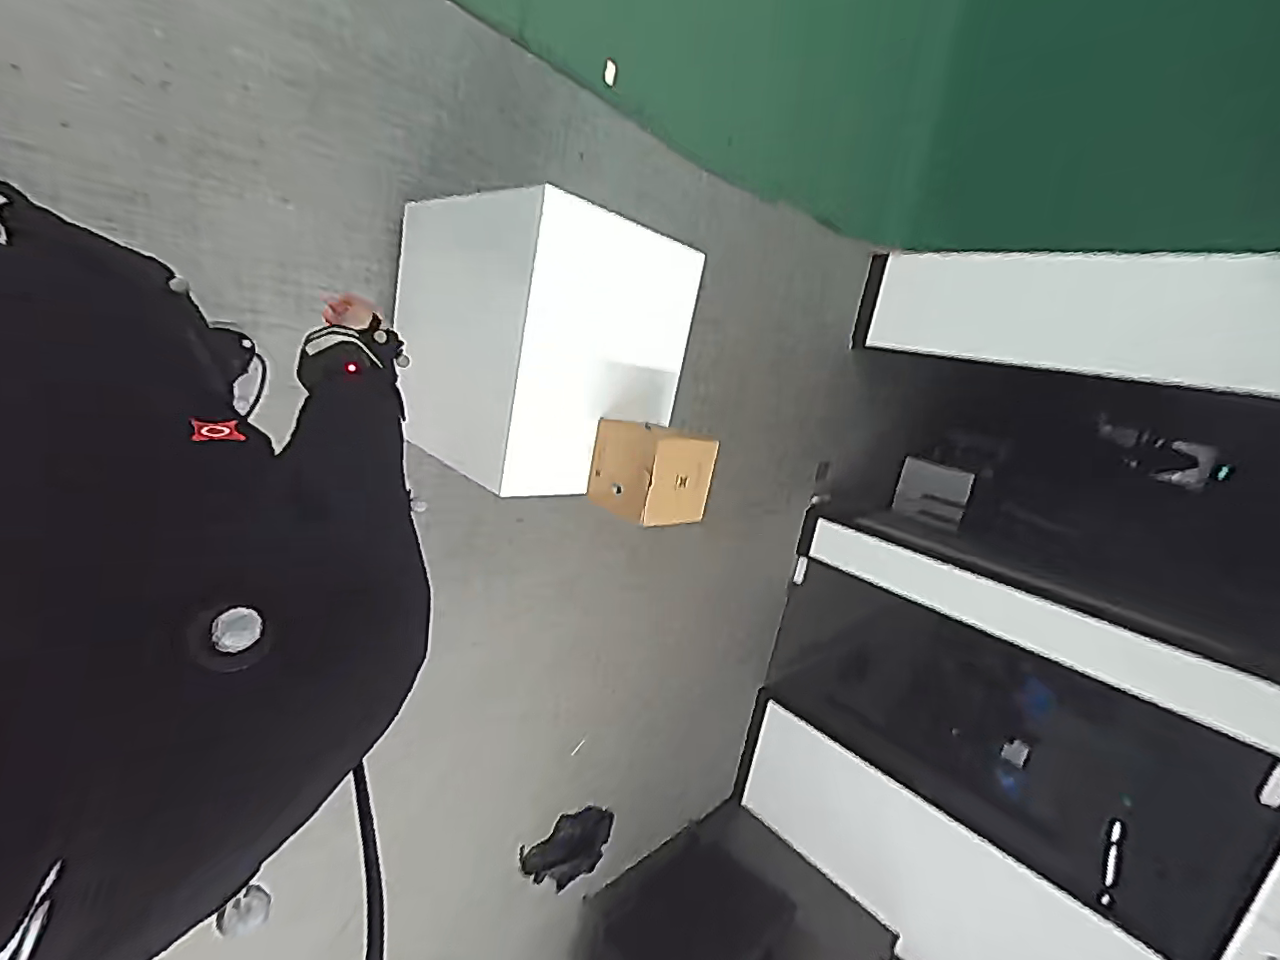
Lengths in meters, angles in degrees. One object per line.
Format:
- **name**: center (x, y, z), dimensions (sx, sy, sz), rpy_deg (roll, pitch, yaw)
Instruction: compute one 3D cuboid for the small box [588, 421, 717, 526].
- **small box**: center (0.020, -0.018, 1.065), dimensions (0.179, 0.176, 0.168), rpy_deg (-2, 109, -46)
